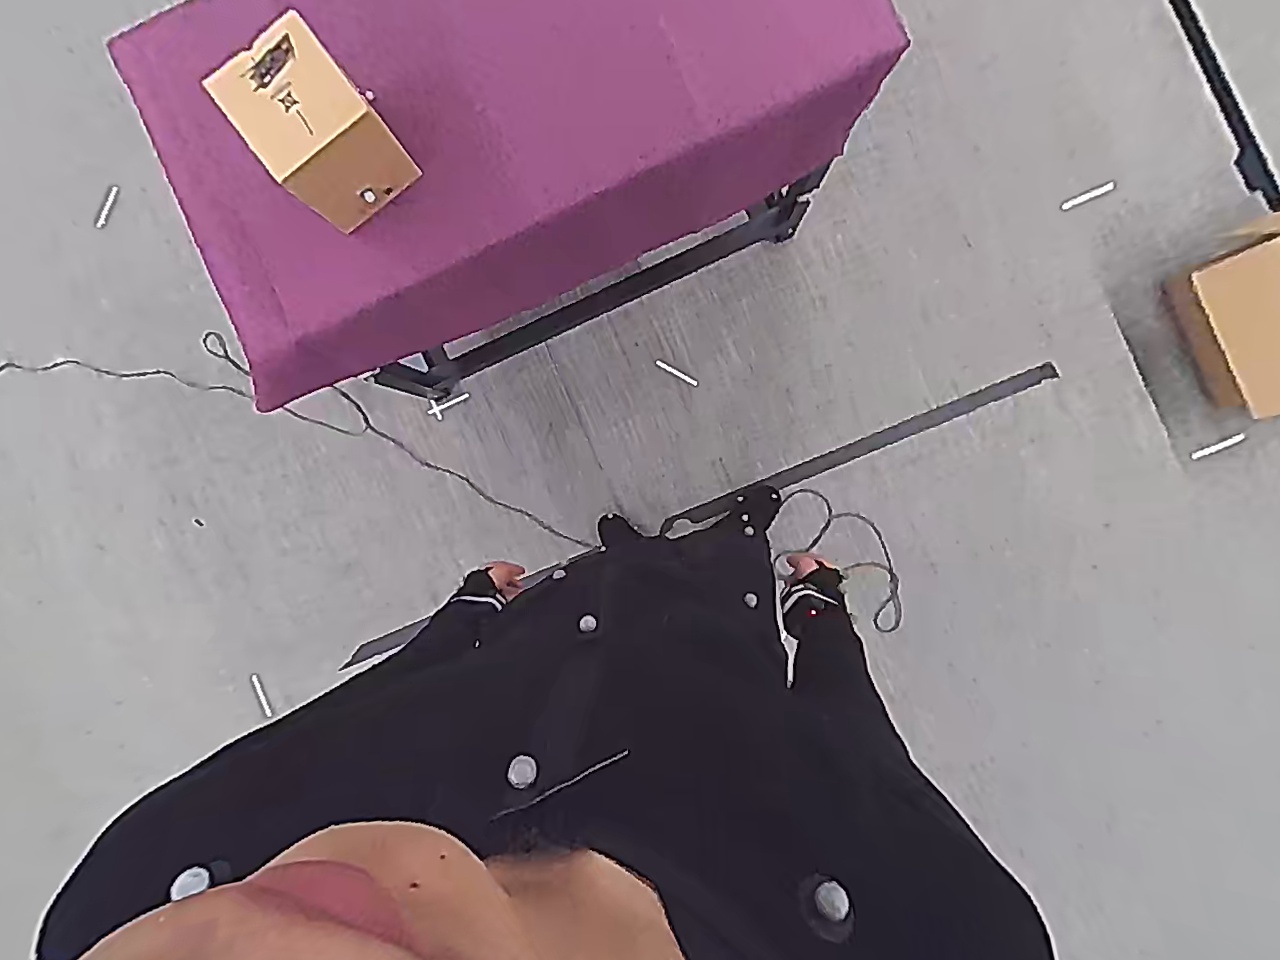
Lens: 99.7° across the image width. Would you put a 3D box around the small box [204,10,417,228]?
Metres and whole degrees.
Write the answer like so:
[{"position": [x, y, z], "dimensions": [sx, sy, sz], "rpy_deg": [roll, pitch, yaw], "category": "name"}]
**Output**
[{"position": [-0.481, -0.526, 0.817], "dimensions": [0.168, 0.176, 0.179], "rpy_deg": [-37, 90, 4], "category": "small box"}]
